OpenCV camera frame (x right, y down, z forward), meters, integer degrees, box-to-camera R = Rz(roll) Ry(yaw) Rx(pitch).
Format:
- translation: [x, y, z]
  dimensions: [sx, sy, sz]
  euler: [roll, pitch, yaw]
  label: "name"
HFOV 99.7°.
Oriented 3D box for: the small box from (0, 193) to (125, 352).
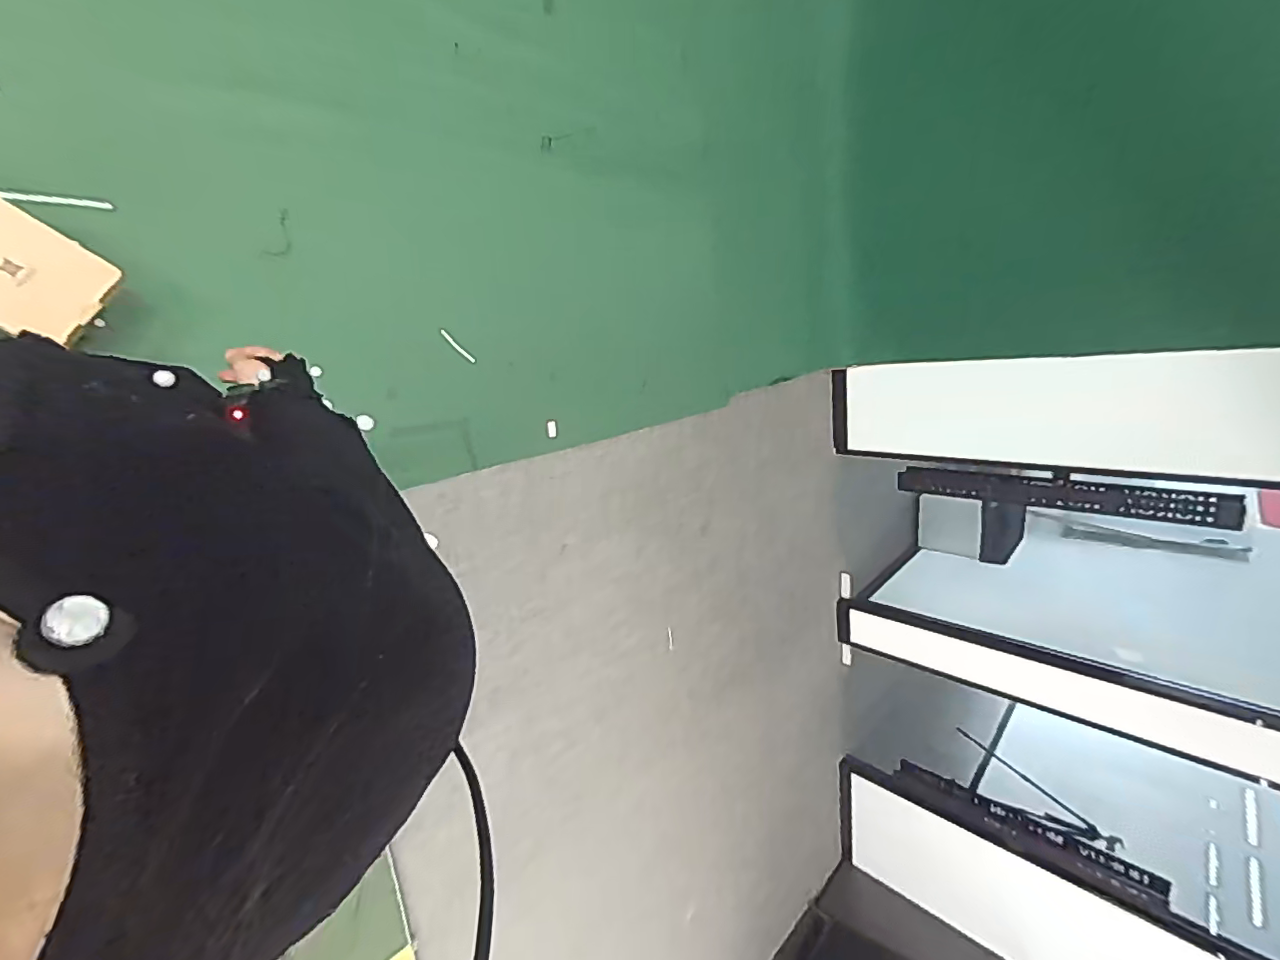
- translation: [-0.970, -0.319, 0.851]
  dimensions: [0.179, 0.176, 0.168]
  euler: [40, 68, -41]
  label: "small box"
